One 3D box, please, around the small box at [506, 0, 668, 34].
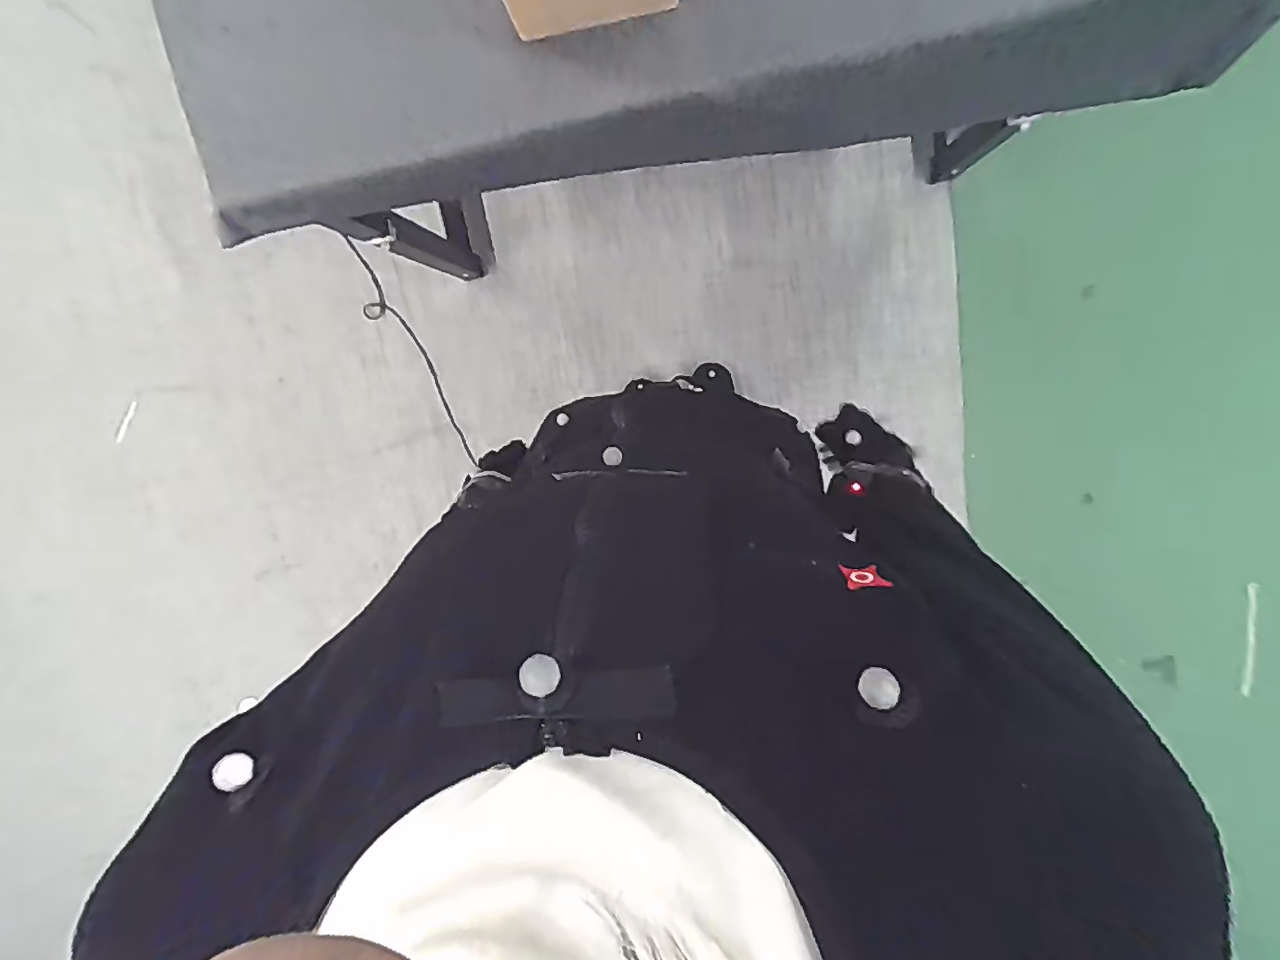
[{"bbox_3d":[-0.063,-0.558,0.496,0.179,0.176,0.168,-7,101,6],"label":"small box"}]
